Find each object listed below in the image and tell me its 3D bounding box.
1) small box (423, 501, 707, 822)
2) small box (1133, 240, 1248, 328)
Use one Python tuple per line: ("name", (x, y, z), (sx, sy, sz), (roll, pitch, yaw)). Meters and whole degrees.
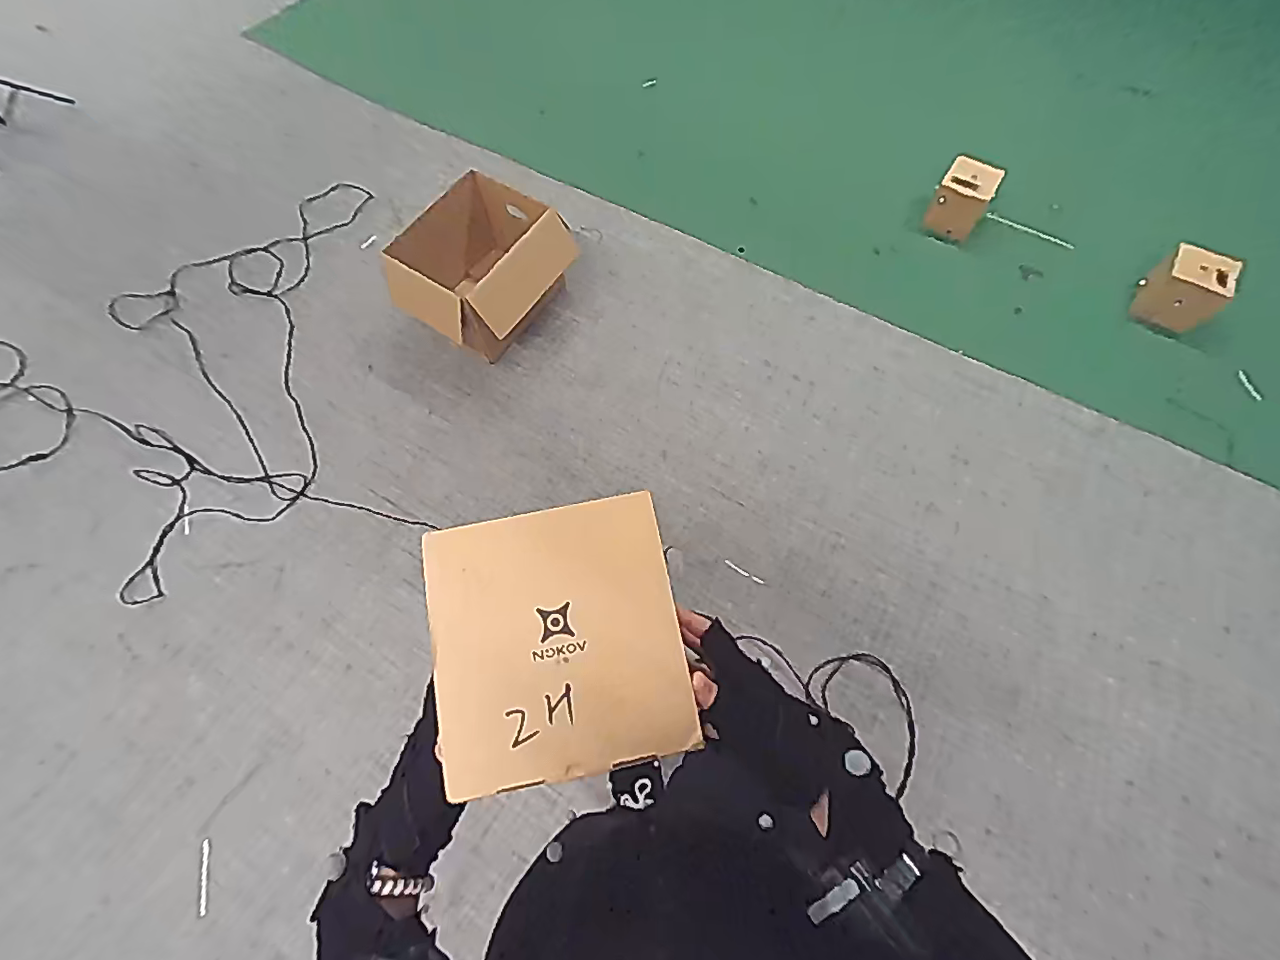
("small box", (-0.054, 0.132, 0.425), (0.168, 0.176, 0.179), (-11, 74, -3))
("small box", (1.729, -0.609, 1.705), (0.179, 0.176, 0.168), (30, 70, 13))
